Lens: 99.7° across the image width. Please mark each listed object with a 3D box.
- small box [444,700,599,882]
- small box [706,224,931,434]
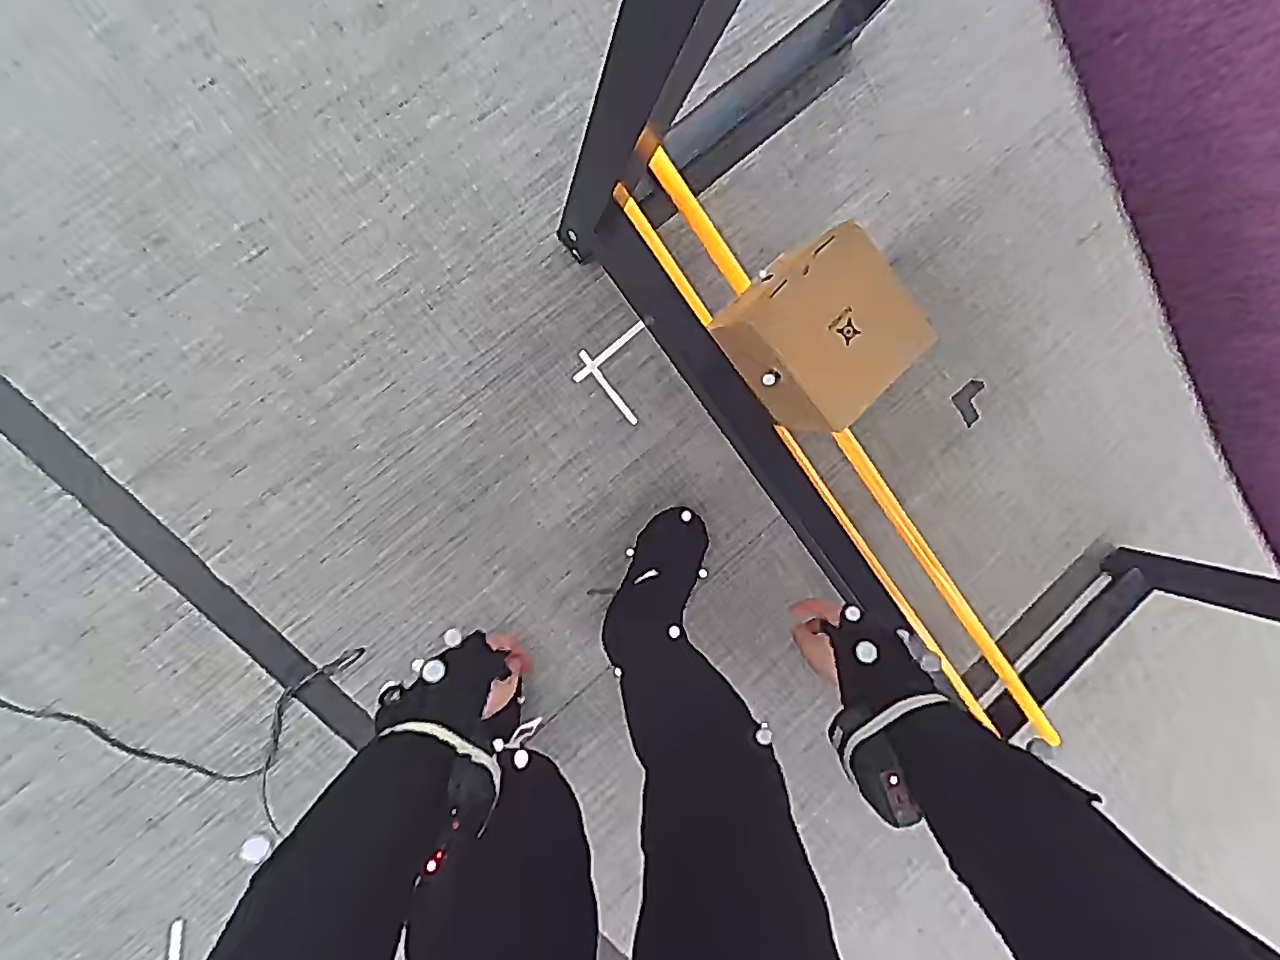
[{"bbox_3d":[-0.171,0.421,0.754,0.179,0.176,0.168,10,86,-18],"label":"small box"},{"bbox_3d":[0.215,-0.181,0.690,0.168,0.176,0.179,-44,103,-4],"label":"small box"}]
